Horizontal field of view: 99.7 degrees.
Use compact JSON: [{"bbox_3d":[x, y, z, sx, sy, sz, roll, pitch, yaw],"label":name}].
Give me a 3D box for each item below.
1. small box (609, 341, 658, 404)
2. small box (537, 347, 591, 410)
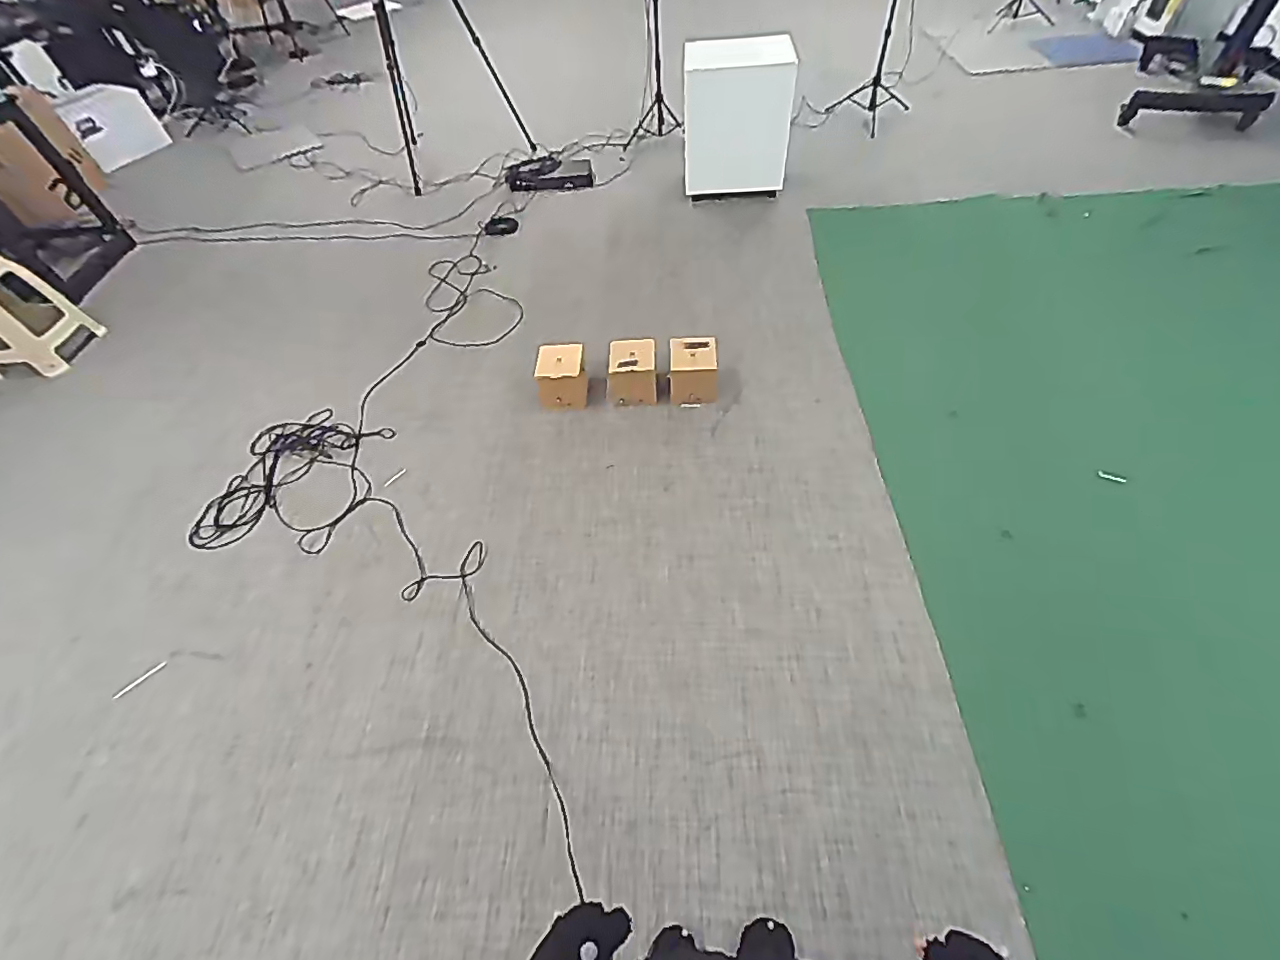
[{"bbox_3d":[-0.019,-0.401,2.044,0.168,0.176,0.179,-3,52,5],"label":"small box"},{"bbox_3d":[-0.284,-0.386,2.063,0.168,0.176,0.179,-2,53,5],"label":"small box"}]
